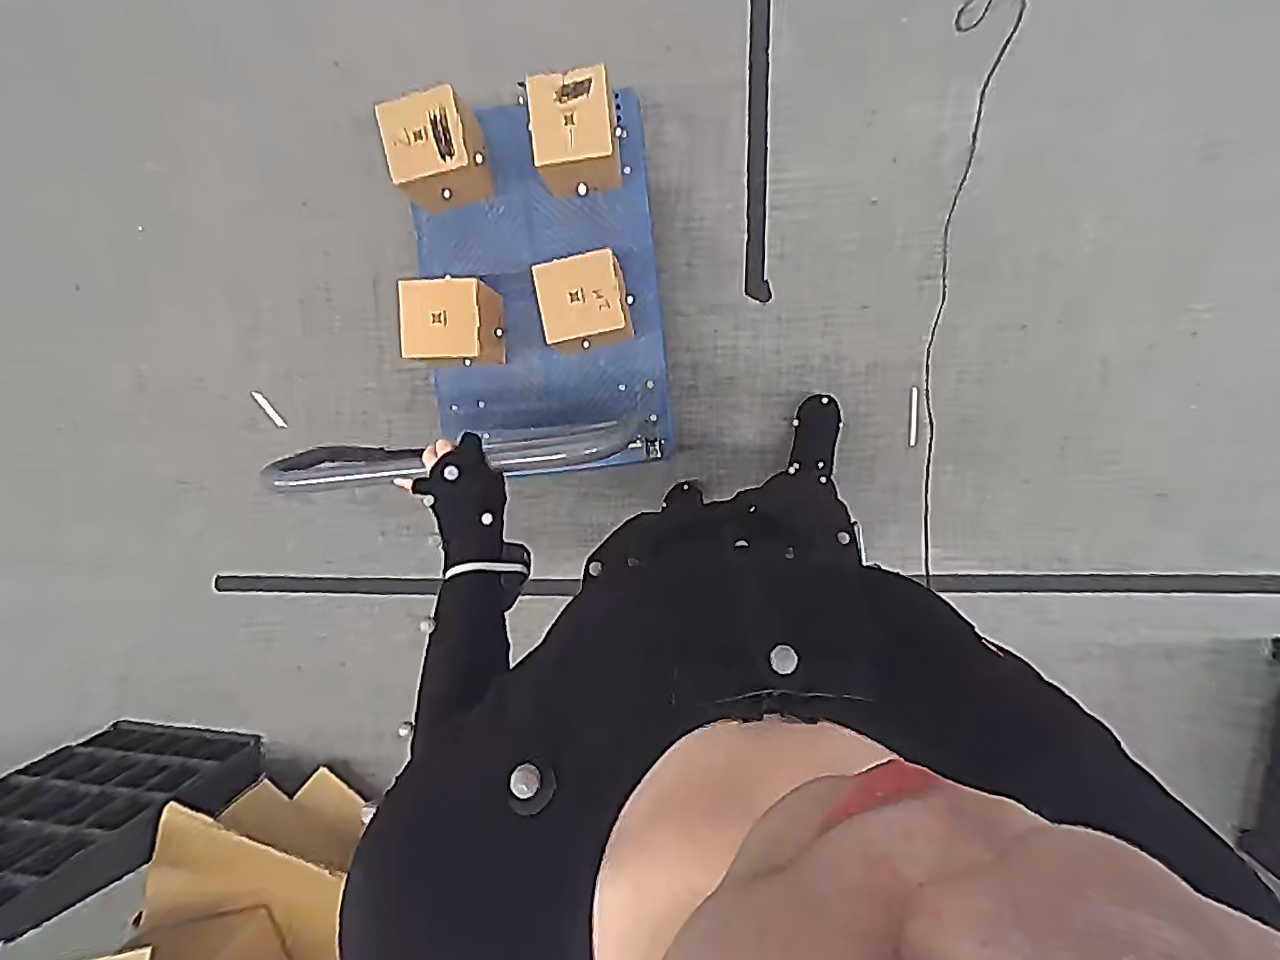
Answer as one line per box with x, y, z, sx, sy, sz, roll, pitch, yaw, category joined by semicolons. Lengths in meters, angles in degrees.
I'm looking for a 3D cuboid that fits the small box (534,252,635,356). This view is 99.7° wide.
-0.117;-0.383;1.210;0.179;0.176;0.168;-10;94;7;small box

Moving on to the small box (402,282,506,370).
-0.421;-0.346;1.243;0.179;0.176;0.168;-1;94;4;small box

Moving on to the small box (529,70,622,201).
-0.134;-0.741;1.180;0.168;0.176;0.179;-5;96;6;small box
